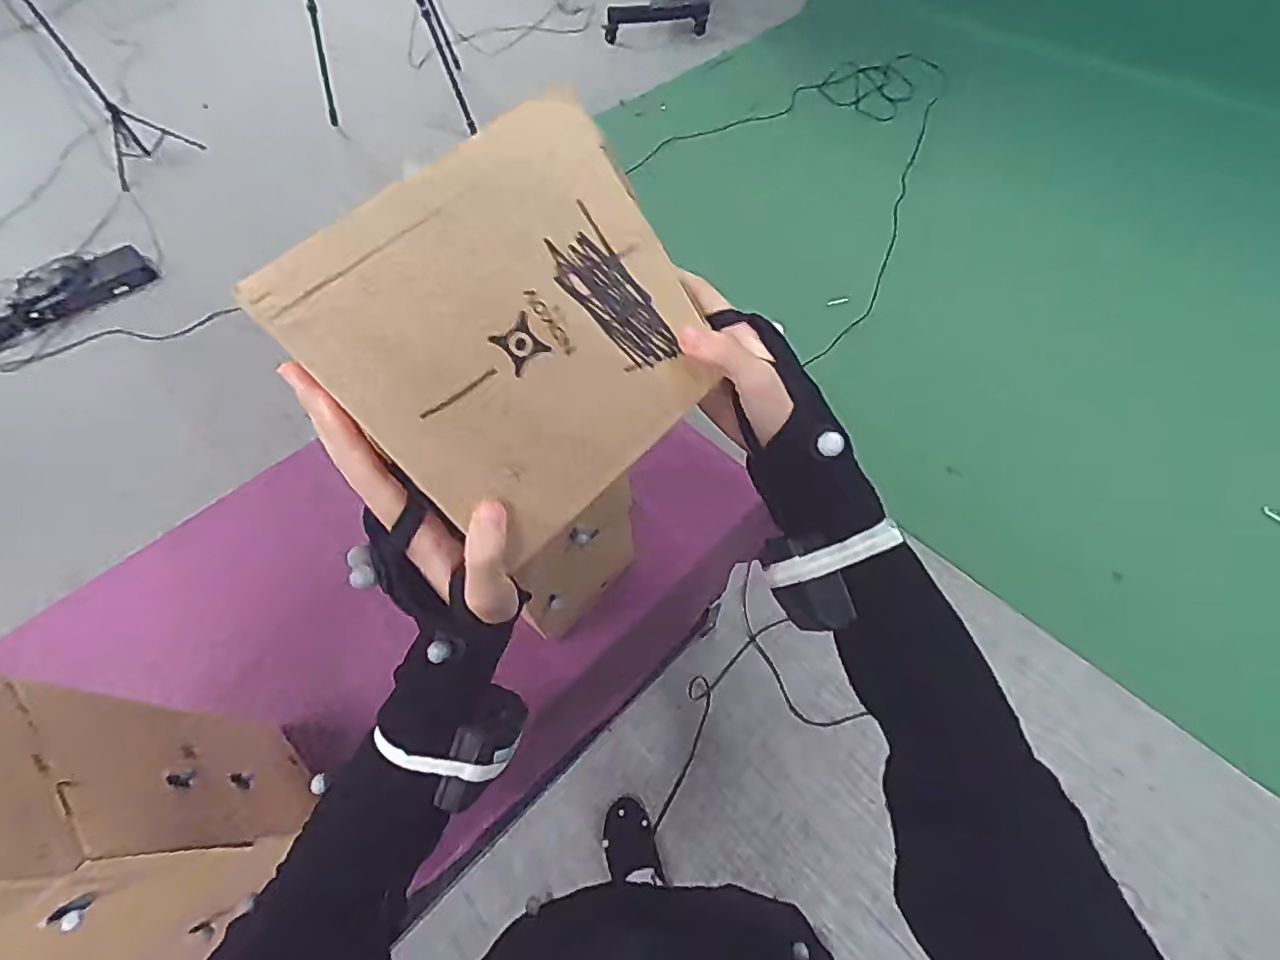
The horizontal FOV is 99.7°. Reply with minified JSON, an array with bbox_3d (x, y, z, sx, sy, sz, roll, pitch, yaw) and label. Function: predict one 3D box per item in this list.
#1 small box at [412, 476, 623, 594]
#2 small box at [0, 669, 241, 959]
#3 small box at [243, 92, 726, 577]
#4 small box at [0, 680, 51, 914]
[{"bbox_3d":[-0.136,-0.009,0.568,0.179,0.176,0.168,36,68,22],"label":"small box"},{"bbox_3d":[-0.466,0.283,0.411,0.168,0.176,0.179,38,66,23],"label":"small box"},{"bbox_3d":[-0.088,-0.079,0.326,0.179,0.168,0.176,-42,26,-16],"label":"small box"},{"bbox_3d":[-0.473,0.195,0.274,0.168,0.176,0.179,-40,64,-21],"label":"small box"}]
